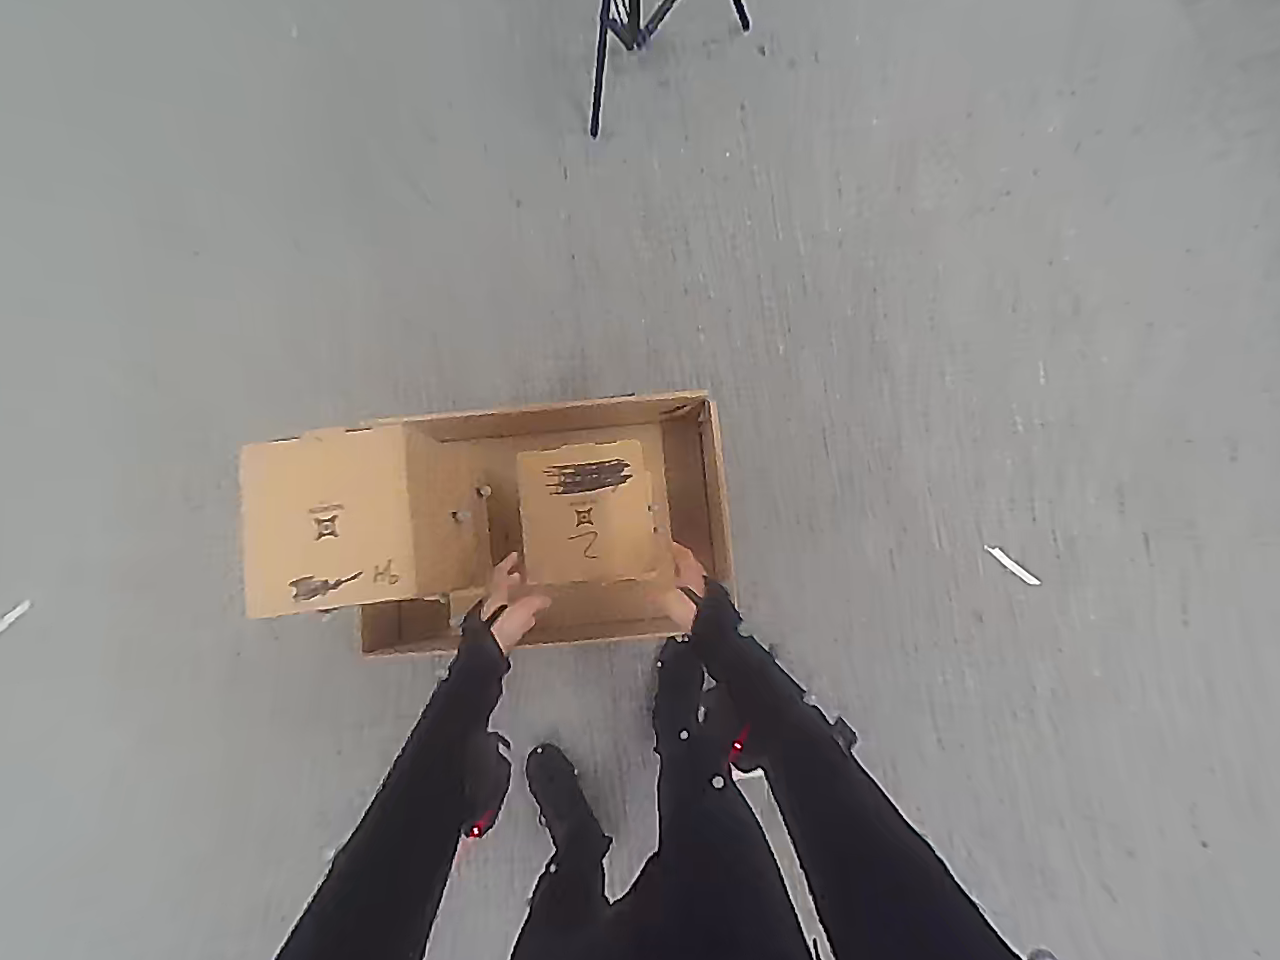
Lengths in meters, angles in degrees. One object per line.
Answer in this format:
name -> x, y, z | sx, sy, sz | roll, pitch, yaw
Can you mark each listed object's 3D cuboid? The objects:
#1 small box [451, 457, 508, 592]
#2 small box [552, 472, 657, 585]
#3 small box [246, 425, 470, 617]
small box -> -0.294, 0.076, 0.772 | 0.168, 0.176, 0.179 | -7, 82, -1
small box -> -0.057, 0.088, 0.935 | 0.168, 0.176, 0.179 | -3, 82, 2
small box -> -0.302, 0.051, 0.609 | 0.168, 0.176, 0.179 | -8, 81, 0
